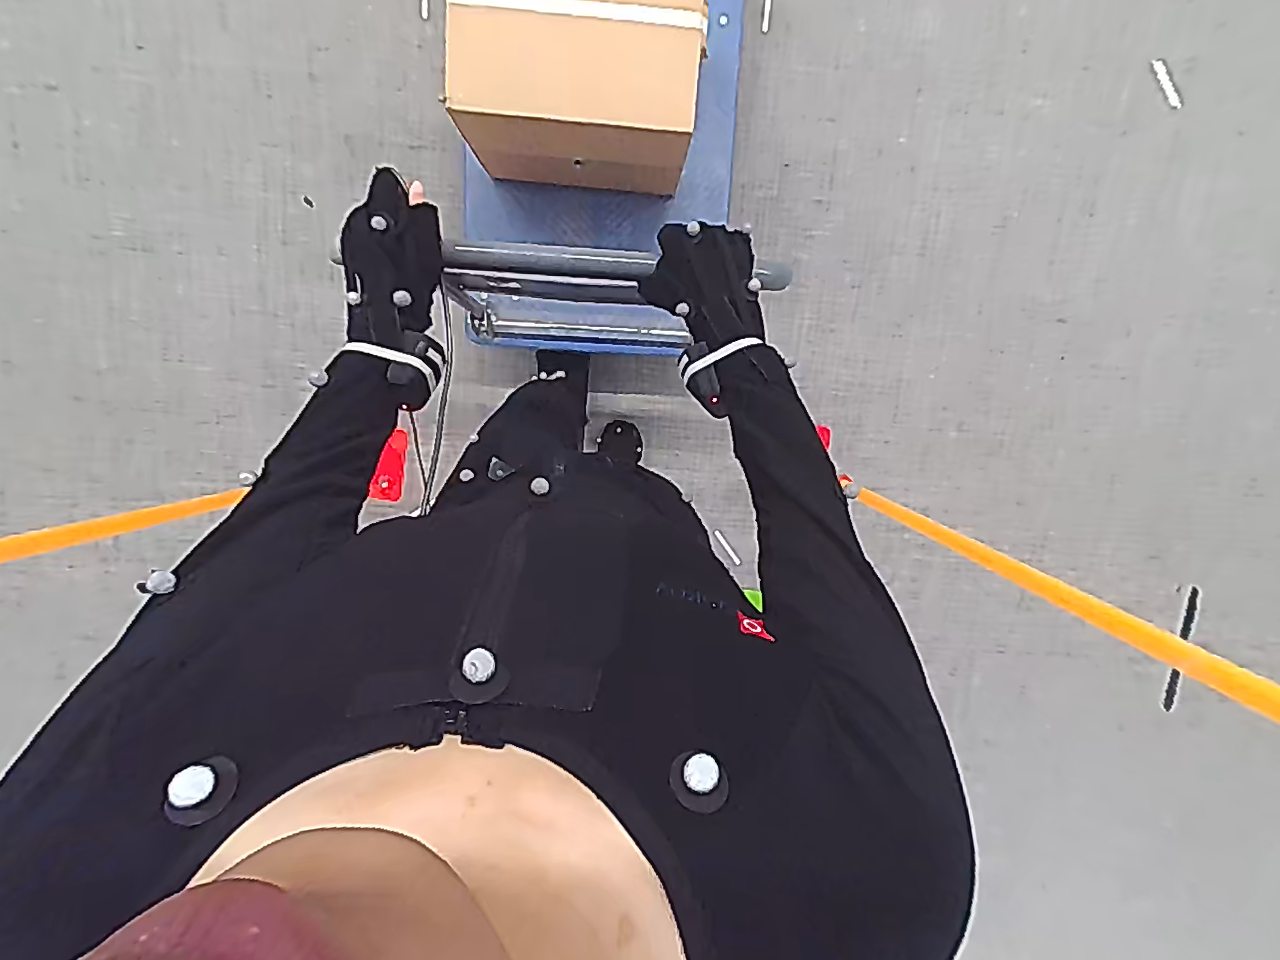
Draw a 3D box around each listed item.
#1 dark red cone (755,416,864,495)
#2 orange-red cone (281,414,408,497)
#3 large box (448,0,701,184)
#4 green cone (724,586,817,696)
[{"bbox_3d":[0.420,-0.035,1.278,0.201,0.394,0.202,4,101,-5],"label":"dark red cone"},{"bbox_3d":[-0.714,-0.034,1.260,0.198,0.360,0.199,12,98,-5],"label":"orange-red cone"},{"bbox_3d":[-0.104,-0.769,0.996,0.408,0.320,0.320,4,100,-2],"label":"large box"},{"bbox_3d":[0.360,0.436,1.380,0.202,0.368,0.200,8,100,-5],"label":"green cone"}]
